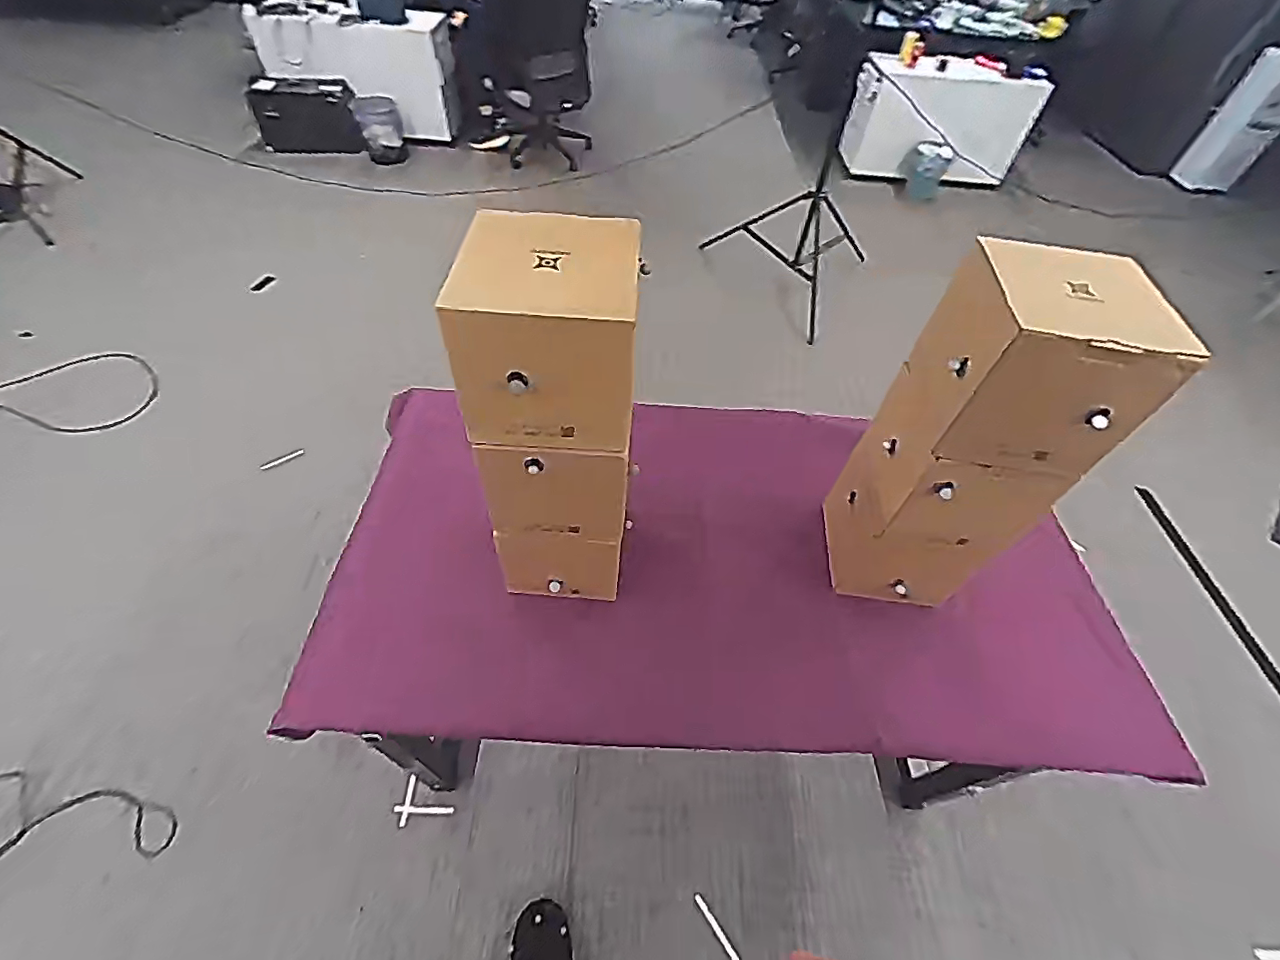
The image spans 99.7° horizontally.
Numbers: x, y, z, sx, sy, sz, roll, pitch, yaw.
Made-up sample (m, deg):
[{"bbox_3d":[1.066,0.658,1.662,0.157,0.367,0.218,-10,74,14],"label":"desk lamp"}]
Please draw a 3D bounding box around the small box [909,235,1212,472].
[{"bbox_3d":[0.416,-0.131,0.578,0.168,0.176,0.179,9,50,2],"label":"small box"}]

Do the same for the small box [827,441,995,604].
[{"bbox_3d":[0.400,0.067,0.837,0.168,0.176,0.179,7,52,2],"label":"small box"}]

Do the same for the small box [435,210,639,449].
[{"bbox_3d":[-0.088,-0.148,0.551,0.168,0.176,0.179,3,51,-2],"label":"small box"}]

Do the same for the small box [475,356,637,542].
[{"bbox_3d":[-0.094,-0.045,0.678,0.168,0.176,0.179,3,51,-1],"label":"small box"}]

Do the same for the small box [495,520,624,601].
[{"bbox_3d":[-0.106,0.059,0.805,0.168,0.176,0.179,4,52,-1],"label":"small box"}]
